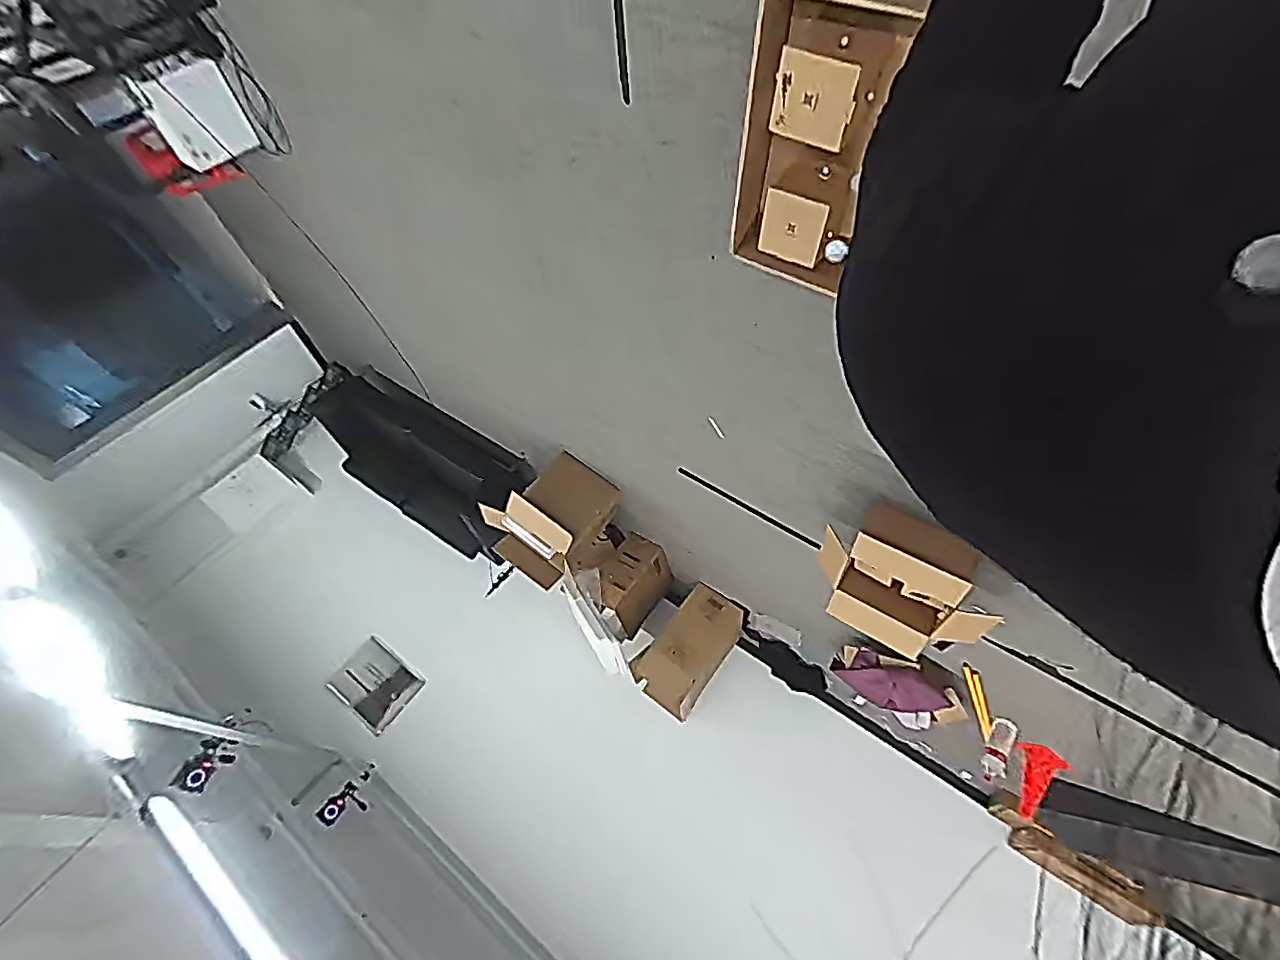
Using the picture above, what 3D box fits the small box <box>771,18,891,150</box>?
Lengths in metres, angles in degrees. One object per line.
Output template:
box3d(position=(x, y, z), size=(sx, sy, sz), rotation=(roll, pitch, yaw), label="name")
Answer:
box3d(position=(0.415, -0.866, 1.179), size=(0.179, 0.176, 0.168), rotation=(30, 154, 17), label="small box")

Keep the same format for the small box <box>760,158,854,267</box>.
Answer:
box3d(position=(0.437, -0.703, 1.418), size=(0.168, 0.176, 0.179), rotation=(29, 151, 19), label="small box")
